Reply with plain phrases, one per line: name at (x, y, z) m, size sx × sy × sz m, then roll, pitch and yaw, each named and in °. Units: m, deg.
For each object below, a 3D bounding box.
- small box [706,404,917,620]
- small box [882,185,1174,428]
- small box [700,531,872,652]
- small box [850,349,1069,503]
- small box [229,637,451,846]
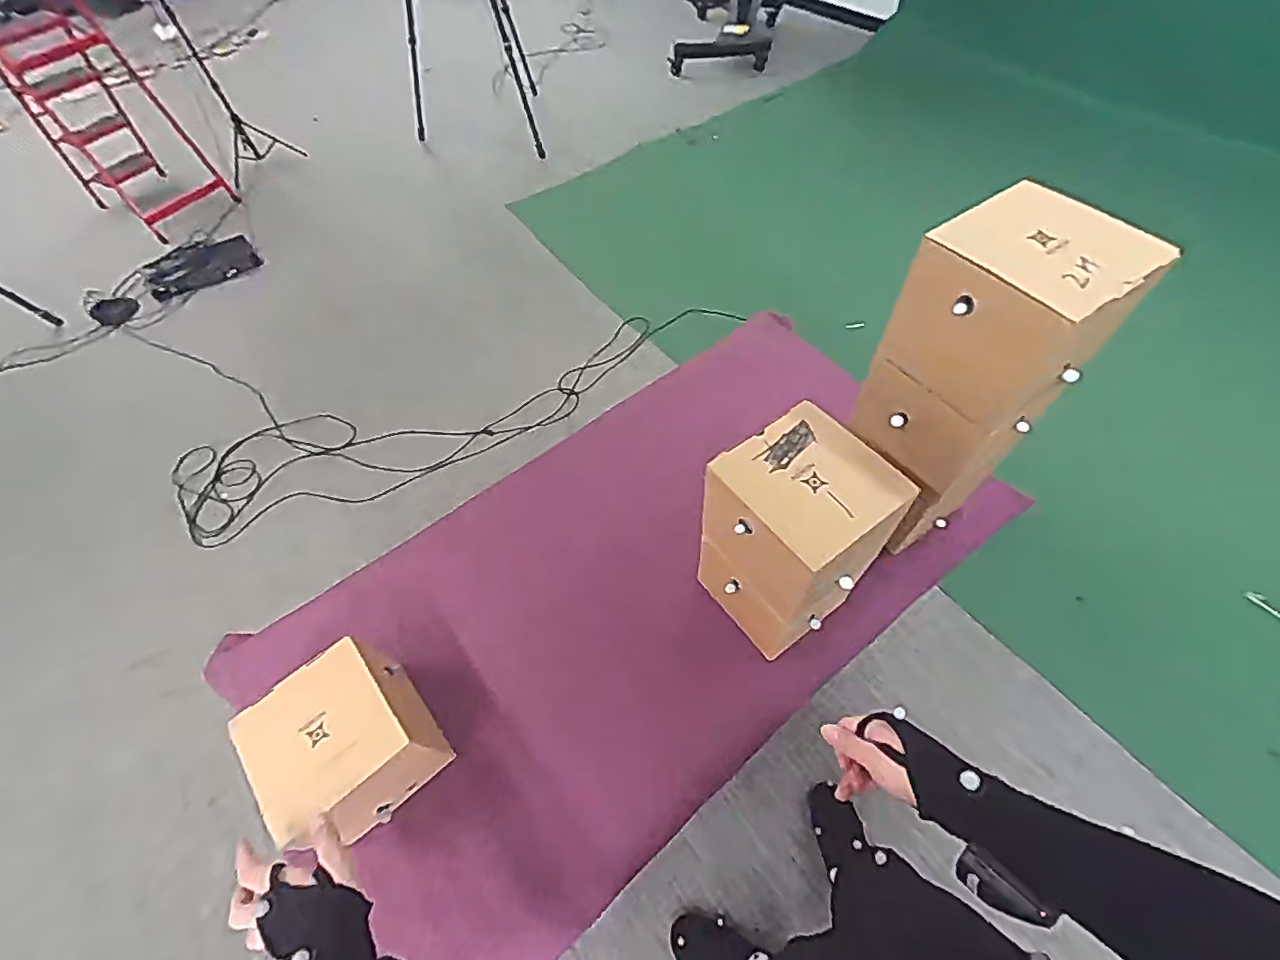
small box at (0.196, 0.044, 0.679) m, size 0.168 × 0.176 × 0.179 m, roll -33°, pitch 60°, yaw -16°
small box at (0.414, -0.193, 0.616) m, size 0.168 × 0.176 × 0.179 m, roll -31°, pitch 60°, yaw -14°
small box at (0.207, 0.136, 0.815) m, size 0.168 × 0.176 × 0.179 m, roll -33°, pitch 59°, yaw -16°
small box at (0.426, -0.102, 0.753) m, size 0.168 × 0.176 × 0.179 m, roll -31°, pitch 59°, yaw -14°
small box at (-0.385, 0.347, 0.719) m, size 0.168 × 0.176 × 0.179 m, roll -37°, pitch 63°, yaw -18°
